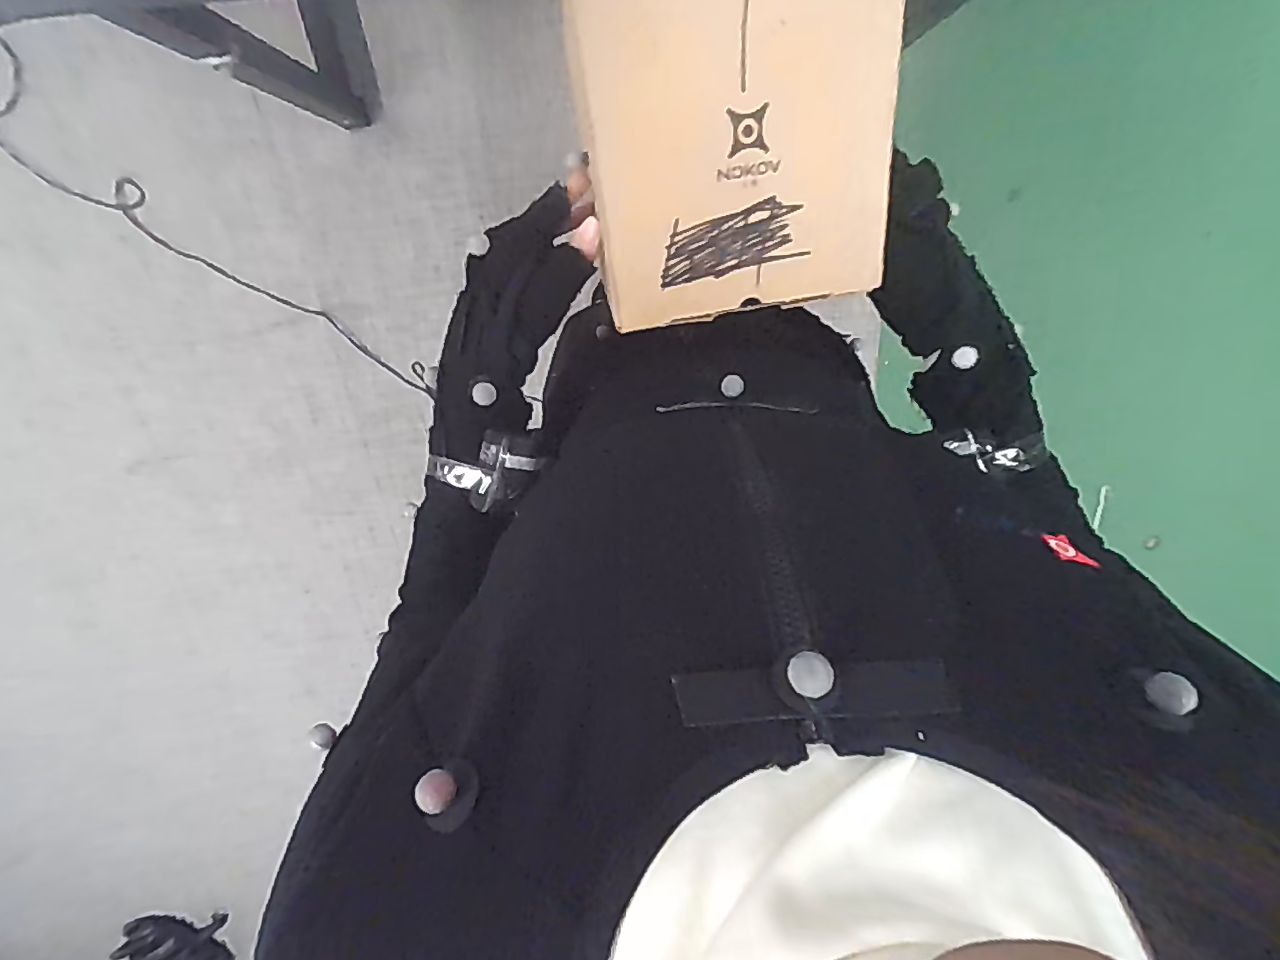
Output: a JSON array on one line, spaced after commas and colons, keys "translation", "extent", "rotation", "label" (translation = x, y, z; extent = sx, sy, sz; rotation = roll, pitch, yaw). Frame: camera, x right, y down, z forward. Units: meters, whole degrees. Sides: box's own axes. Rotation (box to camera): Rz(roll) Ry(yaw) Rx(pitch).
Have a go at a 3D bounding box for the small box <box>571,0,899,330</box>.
[{"translation": [0.048, -0.219, 0.372], "extent": [0.168, 0.176, 0.179], "rotation": [-9, 120, -3], "label": "small box"}]
